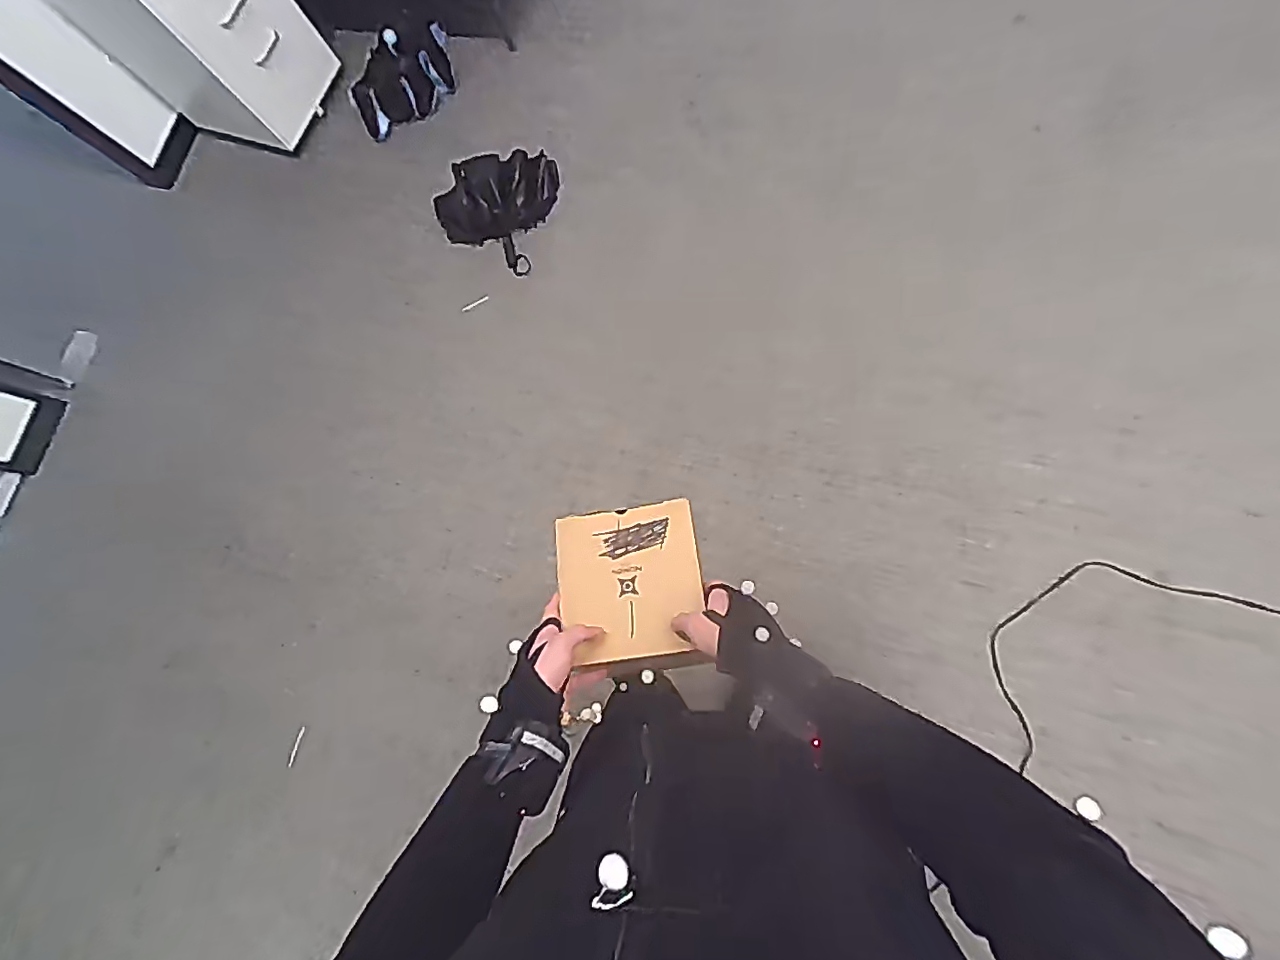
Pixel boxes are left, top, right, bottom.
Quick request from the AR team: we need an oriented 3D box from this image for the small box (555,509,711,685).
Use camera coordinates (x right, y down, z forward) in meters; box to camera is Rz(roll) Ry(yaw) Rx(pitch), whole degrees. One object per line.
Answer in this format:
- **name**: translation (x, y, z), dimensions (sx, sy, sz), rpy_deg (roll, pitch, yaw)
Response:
- **small box**: translation (-0.005, 0.158, 0.697), dimensions (0.168, 0.176, 0.179), rpy_deg (-10, 65, 7)
